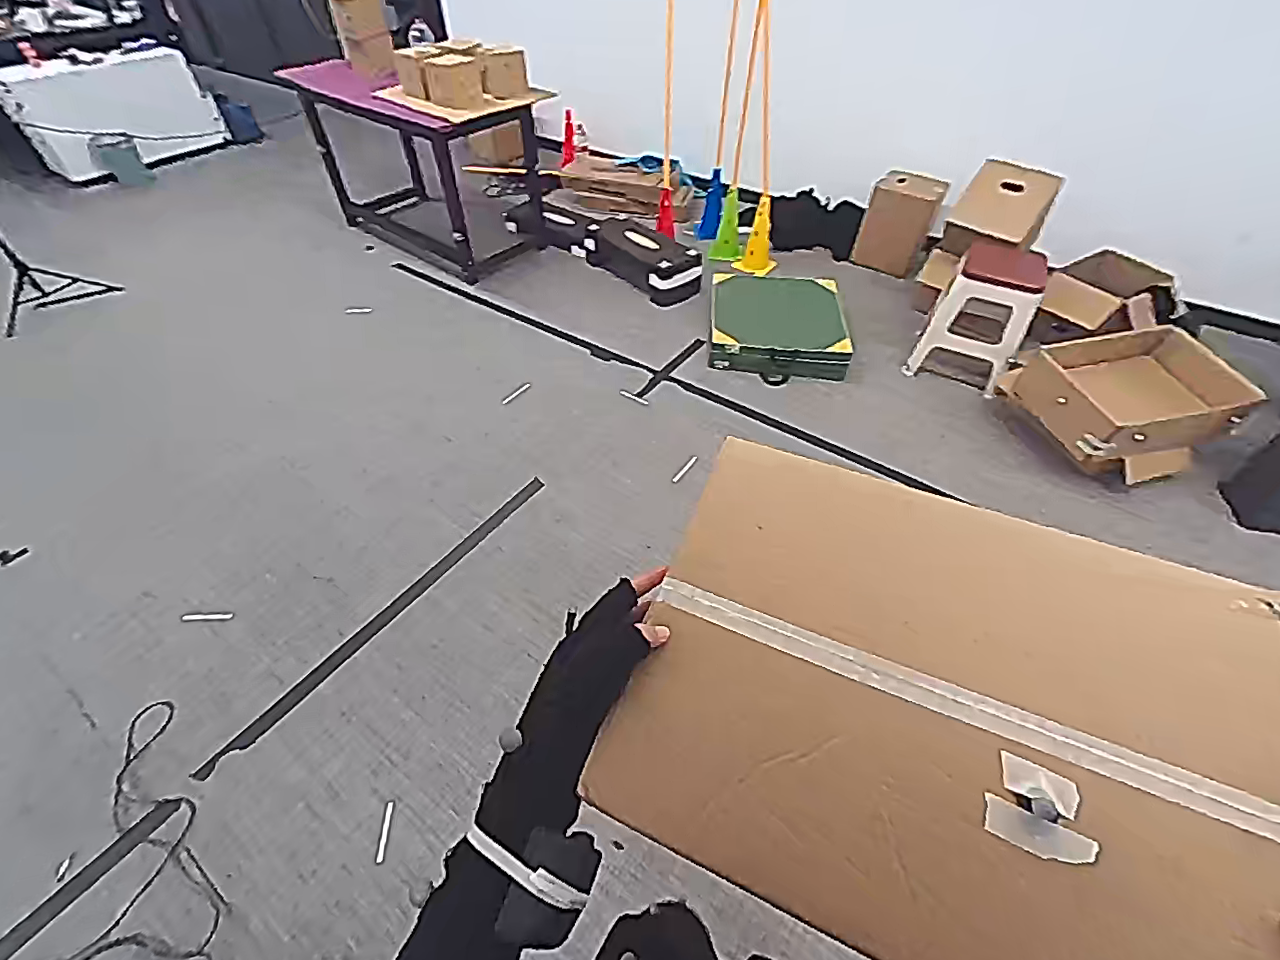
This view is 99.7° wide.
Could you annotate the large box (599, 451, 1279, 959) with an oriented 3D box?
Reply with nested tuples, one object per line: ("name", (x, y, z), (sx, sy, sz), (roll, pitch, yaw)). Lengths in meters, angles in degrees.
("large box", (0.223, 0.224, 0.515), (0.408, 0.320, 0.320), (18, 65, 17))
